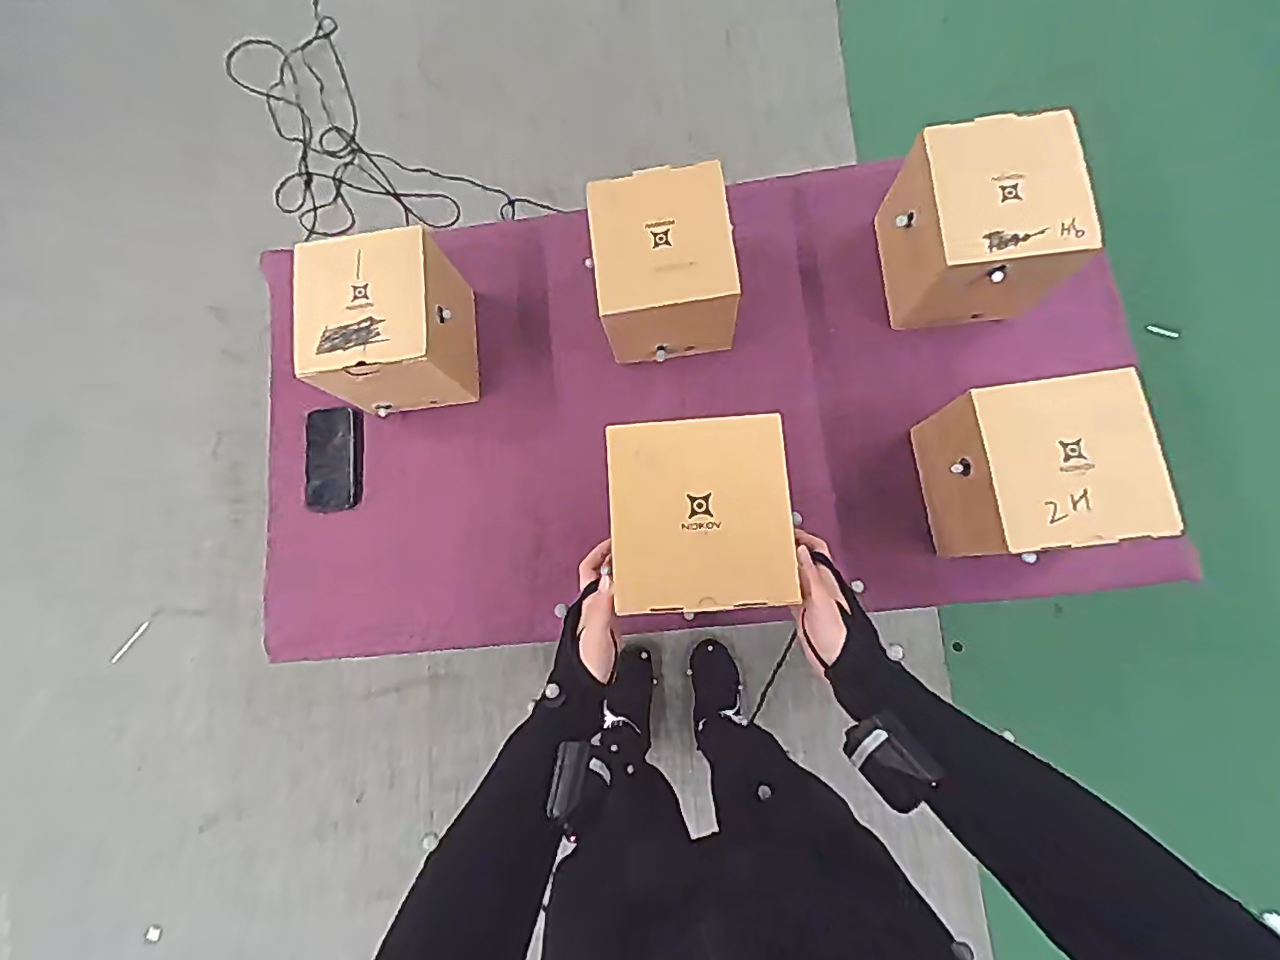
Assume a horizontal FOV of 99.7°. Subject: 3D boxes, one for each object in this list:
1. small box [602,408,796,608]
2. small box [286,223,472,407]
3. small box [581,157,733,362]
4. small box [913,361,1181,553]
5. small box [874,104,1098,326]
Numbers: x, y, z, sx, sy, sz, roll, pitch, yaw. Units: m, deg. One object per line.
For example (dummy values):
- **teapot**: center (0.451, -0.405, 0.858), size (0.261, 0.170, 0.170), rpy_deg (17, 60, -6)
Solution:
- **small box**: center (0.052, 0.038, 0.562), size (0.168, 0.176, 0.179), rpy_deg (-4, 79, 2)
- **small box**: center (-0.335, -0.205, 0.723), size (0.168, 0.176, 0.179), rpy_deg (-7, 79, 4)
- **small box**: center (0.024, -0.274, 0.704), size (0.168, 0.176, 0.179), rpy_deg (-7, 80, 5)
- **small box**: center (0.436, -0.014, 0.617), size (0.168, 0.176, 0.179), rpy_deg (-8, 80, 6)
- **small box**: center (0.409, -0.317, 0.675), size (0.168, 0.176, 0.179), rpy_deg (-5, 80, 5)
